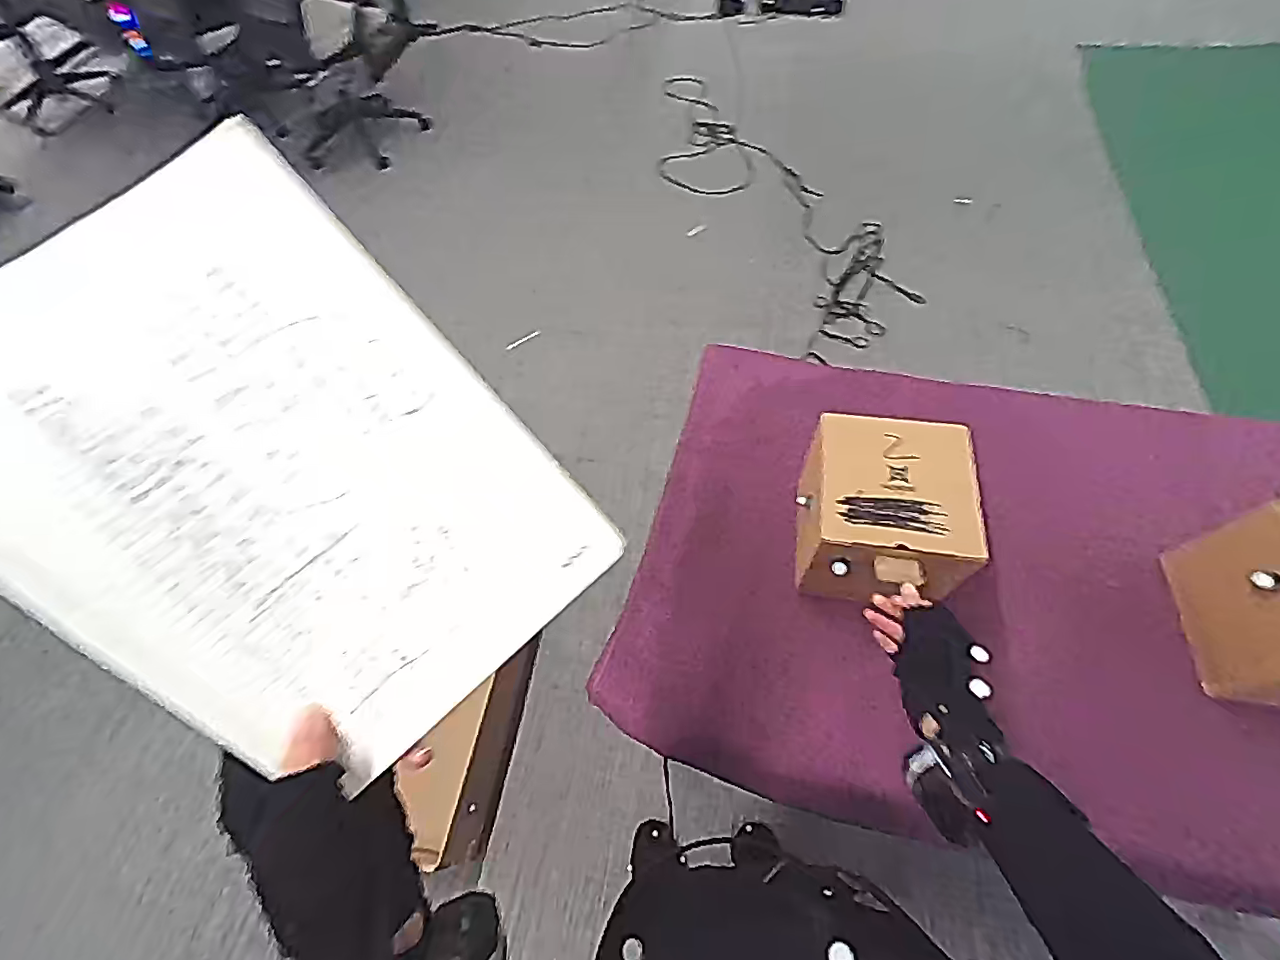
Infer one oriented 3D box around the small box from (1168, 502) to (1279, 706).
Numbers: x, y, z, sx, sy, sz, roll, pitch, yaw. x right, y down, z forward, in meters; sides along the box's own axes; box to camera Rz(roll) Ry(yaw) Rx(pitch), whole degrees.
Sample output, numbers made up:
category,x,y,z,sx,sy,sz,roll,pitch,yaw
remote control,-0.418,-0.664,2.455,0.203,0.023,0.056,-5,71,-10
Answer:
category,x,y,z,sx,sy,sz,roll,pitch,yaw
small box,0.734,0.147,0.576,0.168,0.176,0.179,7,60,9
